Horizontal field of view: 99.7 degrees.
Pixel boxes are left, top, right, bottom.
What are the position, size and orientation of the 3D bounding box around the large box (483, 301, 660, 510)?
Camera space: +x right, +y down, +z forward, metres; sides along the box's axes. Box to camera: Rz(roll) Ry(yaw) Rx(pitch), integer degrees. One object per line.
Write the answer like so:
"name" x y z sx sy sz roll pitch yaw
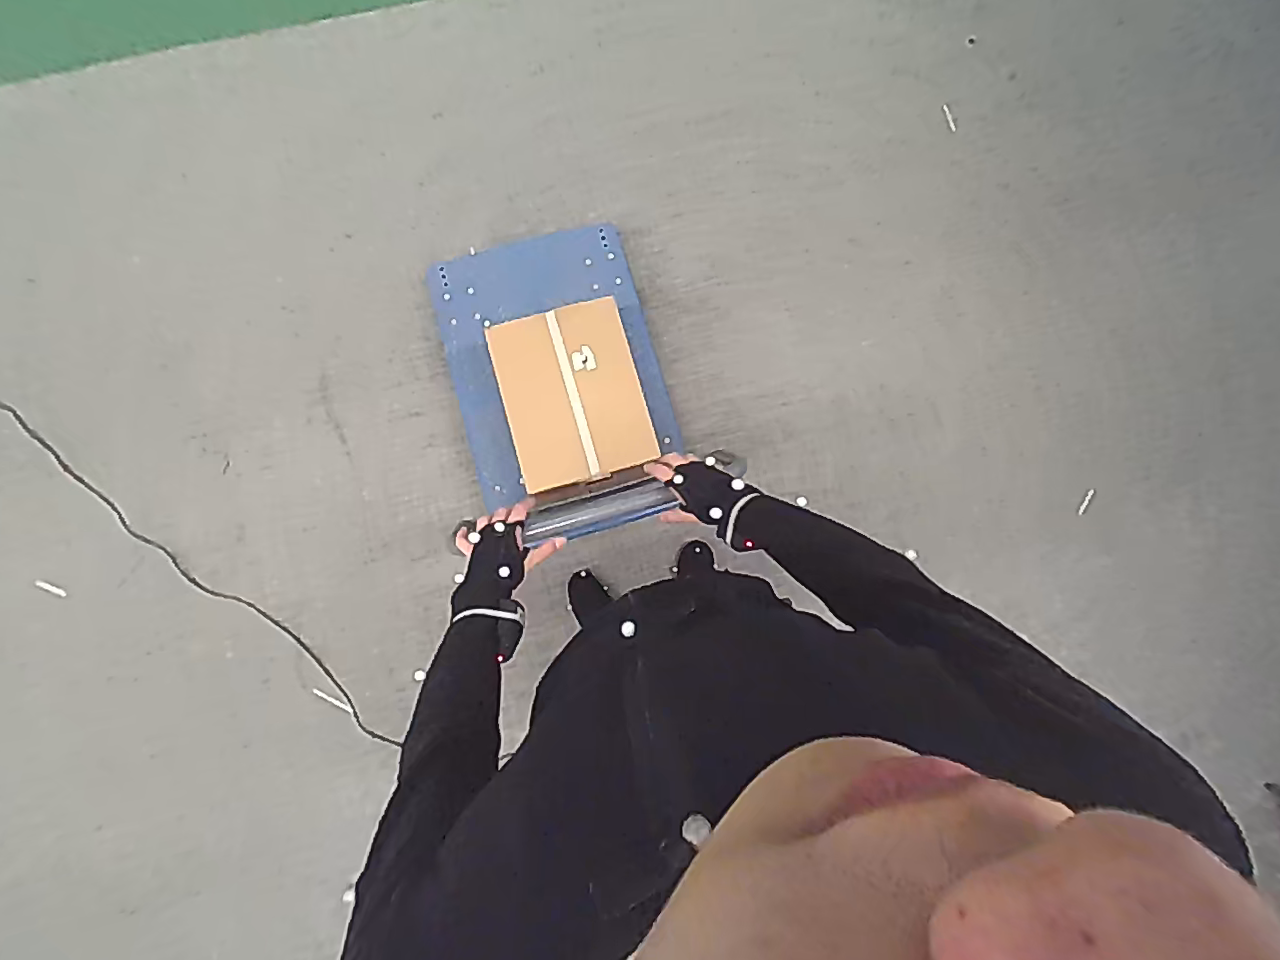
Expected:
"large box" -0.164 -0.169 1.375 0.320 0.320 0.408 -16 82 -6
